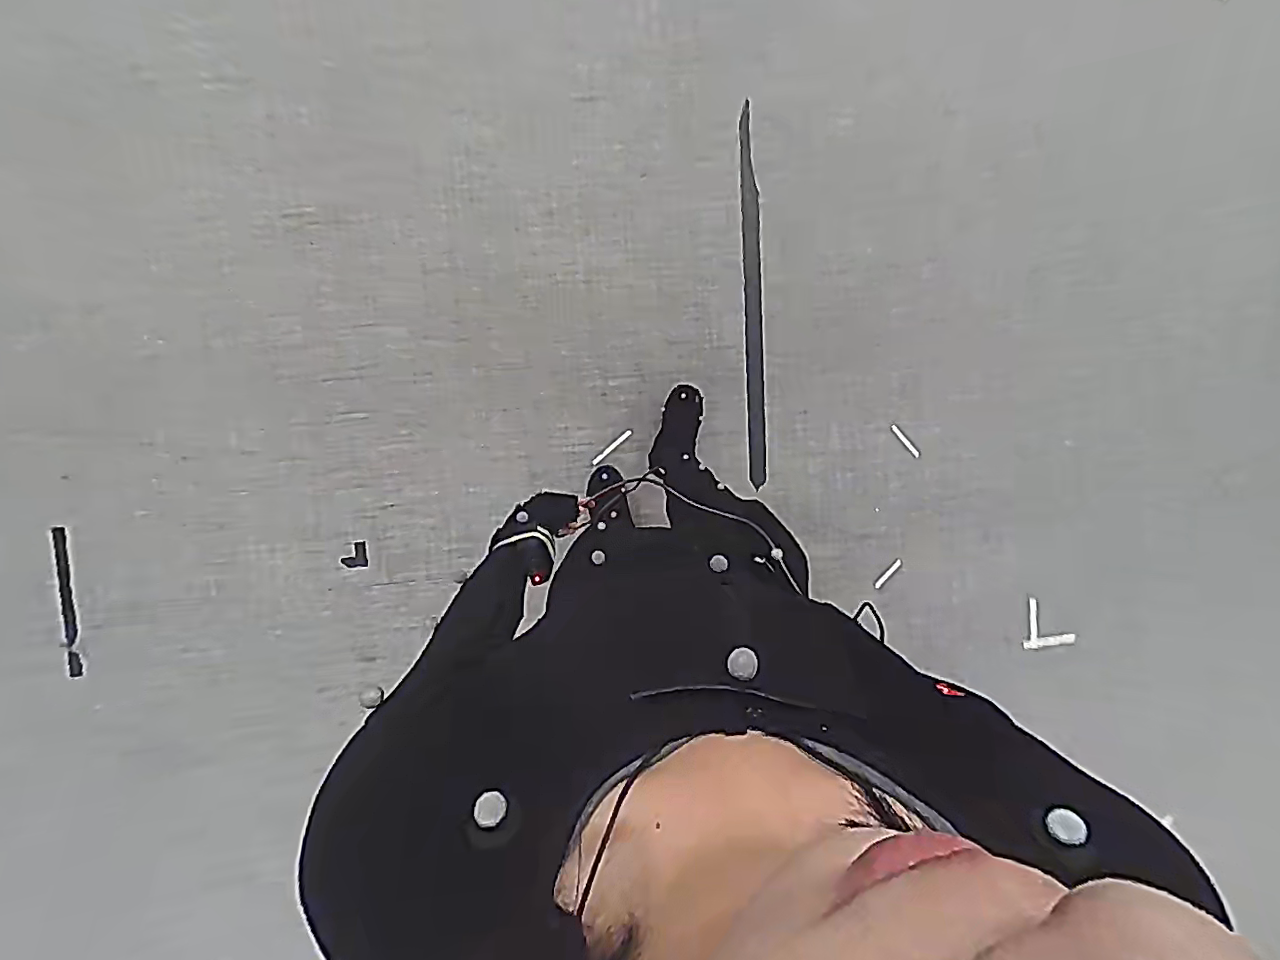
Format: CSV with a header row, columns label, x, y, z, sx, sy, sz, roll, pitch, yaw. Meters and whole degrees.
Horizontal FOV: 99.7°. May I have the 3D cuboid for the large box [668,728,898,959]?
label,x,y,z,sx,sy,sz,roll,pitch,yaw
large box,0.315,0.867,1.286,0.408,0.320,0.320,-18,95,-3
